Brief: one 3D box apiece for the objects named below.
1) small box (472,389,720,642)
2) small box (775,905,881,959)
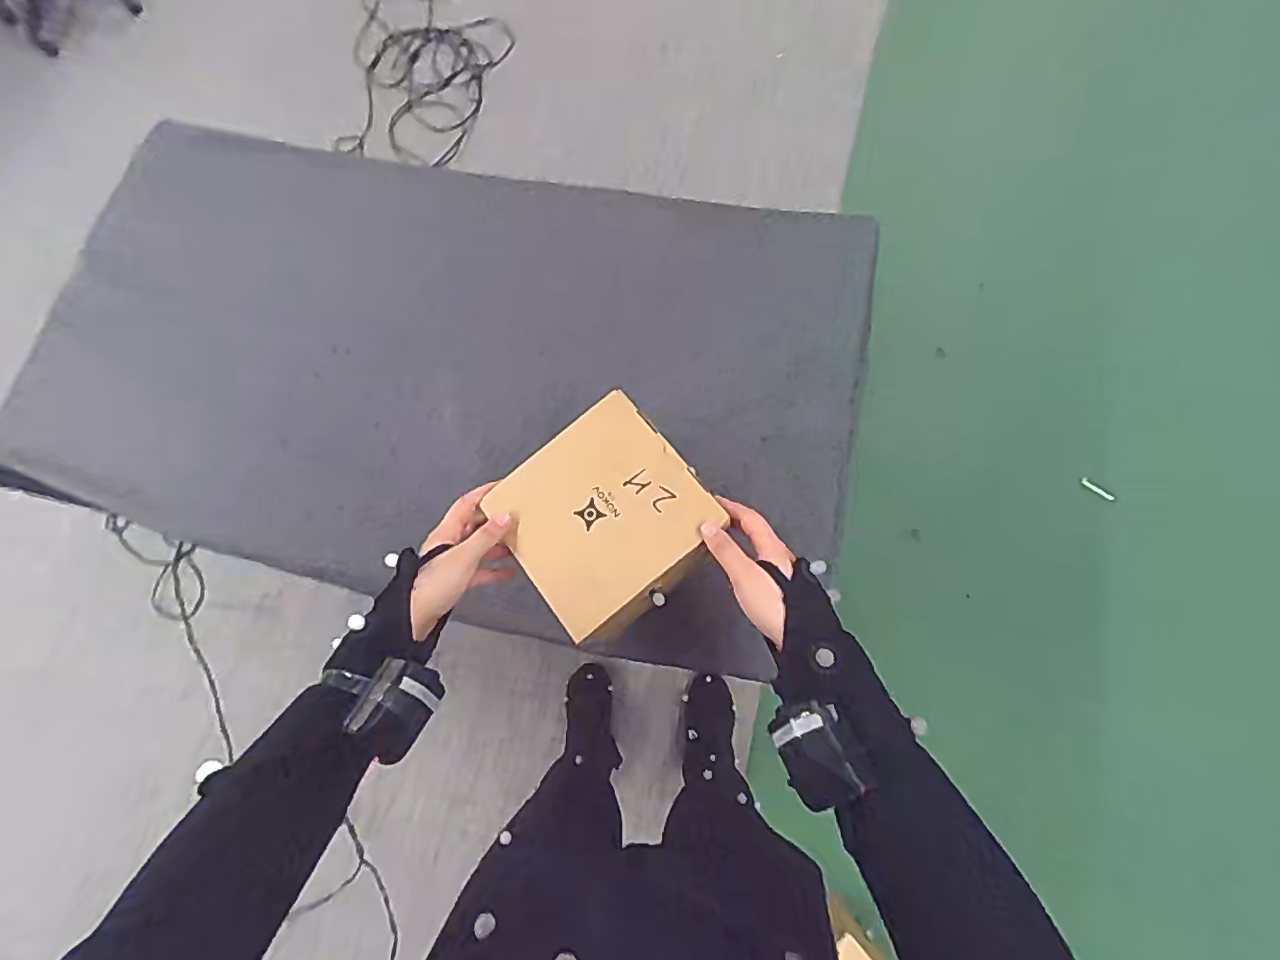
[{"bbox_3d":[-0.031,0.045,0.559,0.179,0.176,0.168,-39,75,-2],"label":"small box"},{"bbox_3d":[0.379,0.960,1.026,0.168,0.176,0.179,-42,74,-6],"label":"small box"}]
